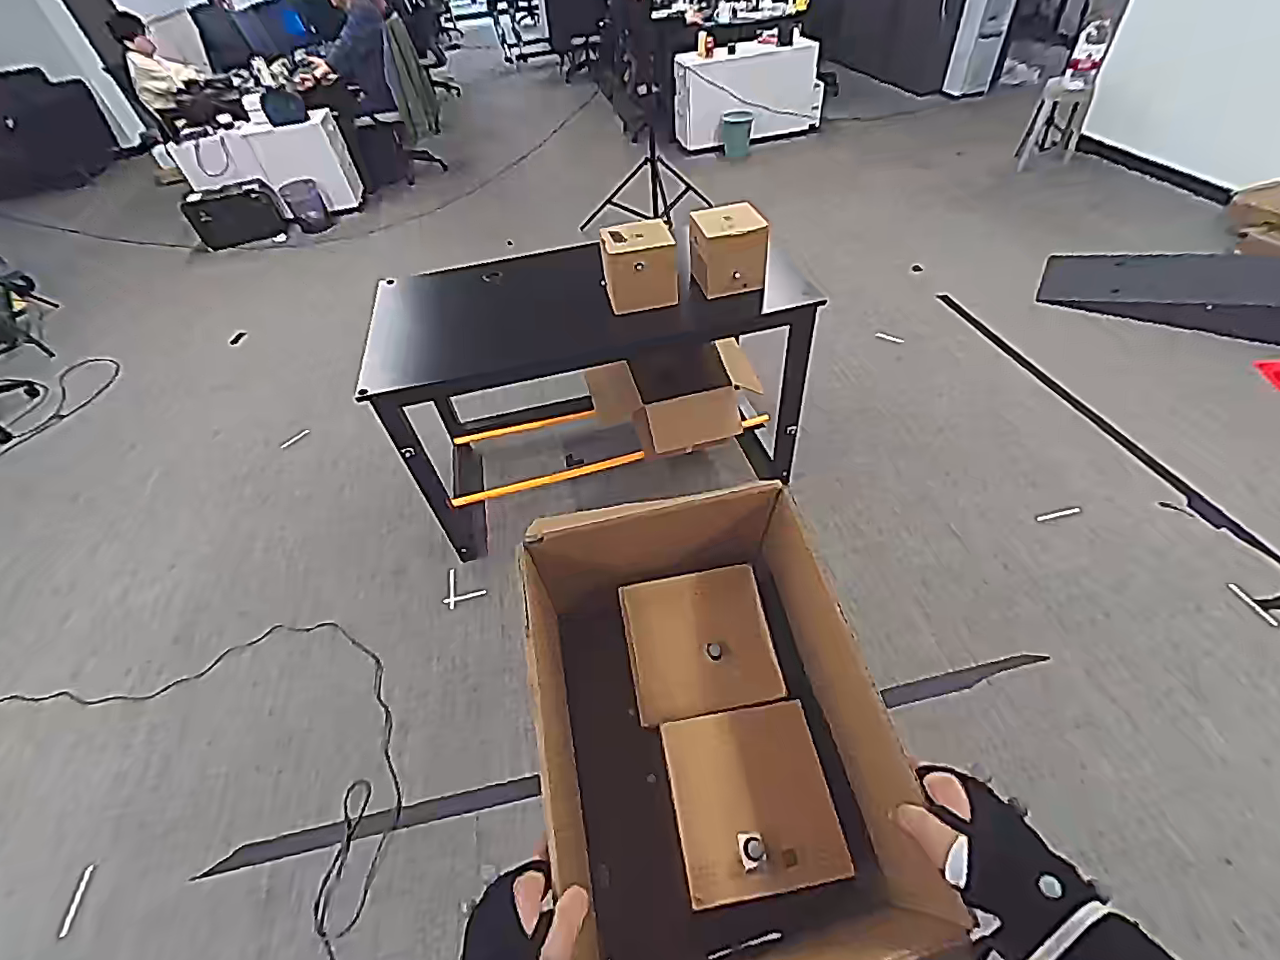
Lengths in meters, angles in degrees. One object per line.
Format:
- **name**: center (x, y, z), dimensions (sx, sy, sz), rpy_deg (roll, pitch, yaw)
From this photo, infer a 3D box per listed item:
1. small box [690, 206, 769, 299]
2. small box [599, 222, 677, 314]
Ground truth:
- **small box**: center (0.236, -0.616, 1.464), dimensions (0.168, 0.176, 0.179), rpy_deg (-12, 47, -3)
- **small box**: center (-0.004, -0.564, 1.448), dimensions (0.179, 0.176, 0.168), rpy_deg (-11, 47, -4)
